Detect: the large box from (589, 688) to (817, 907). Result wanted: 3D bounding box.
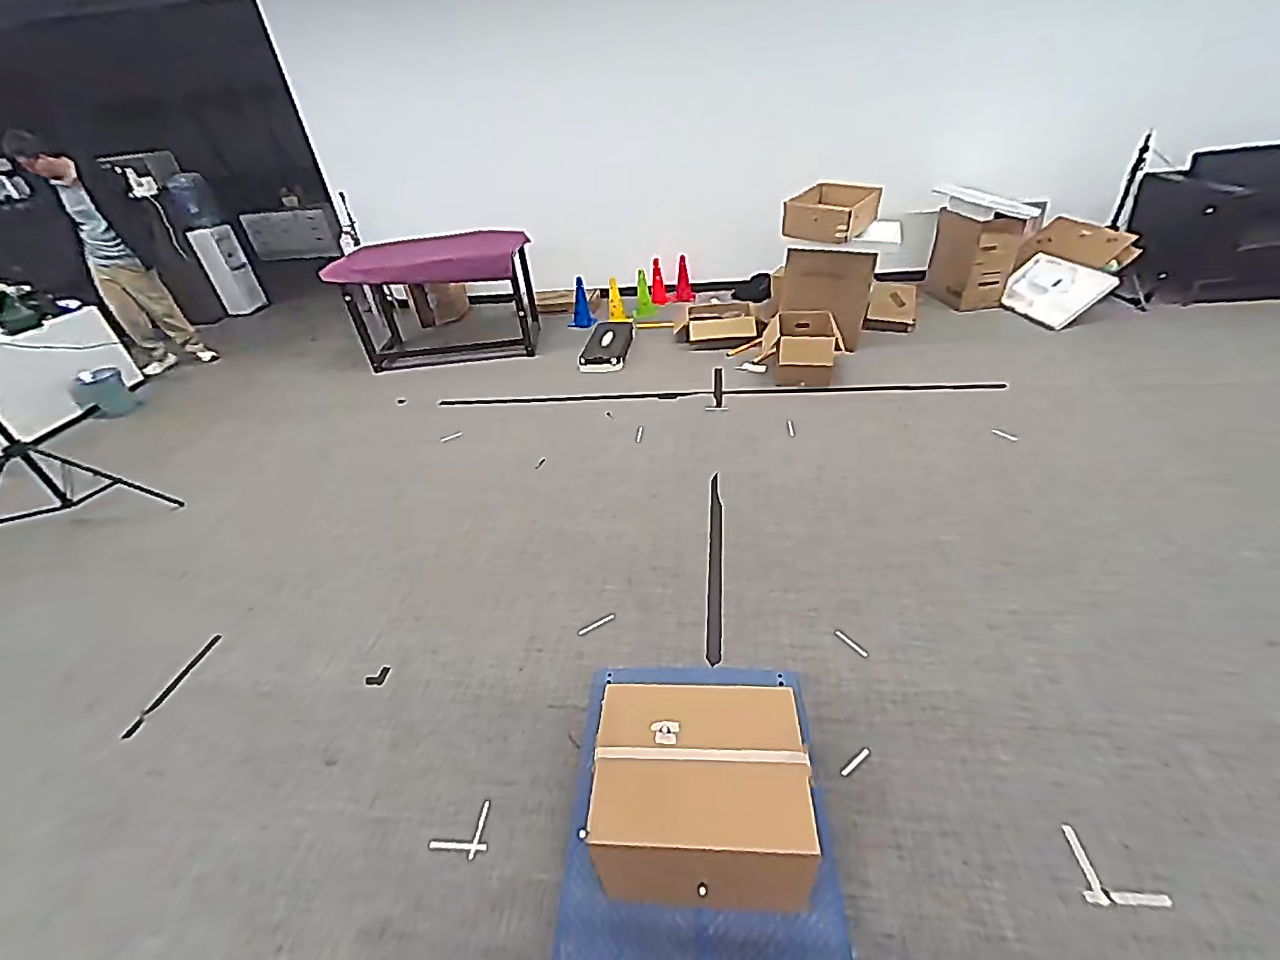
[{"bbox_3d":[0.130,0.667,1.145,0.408,0.320,0.320,-3,35,7],"label":"large box"}]
